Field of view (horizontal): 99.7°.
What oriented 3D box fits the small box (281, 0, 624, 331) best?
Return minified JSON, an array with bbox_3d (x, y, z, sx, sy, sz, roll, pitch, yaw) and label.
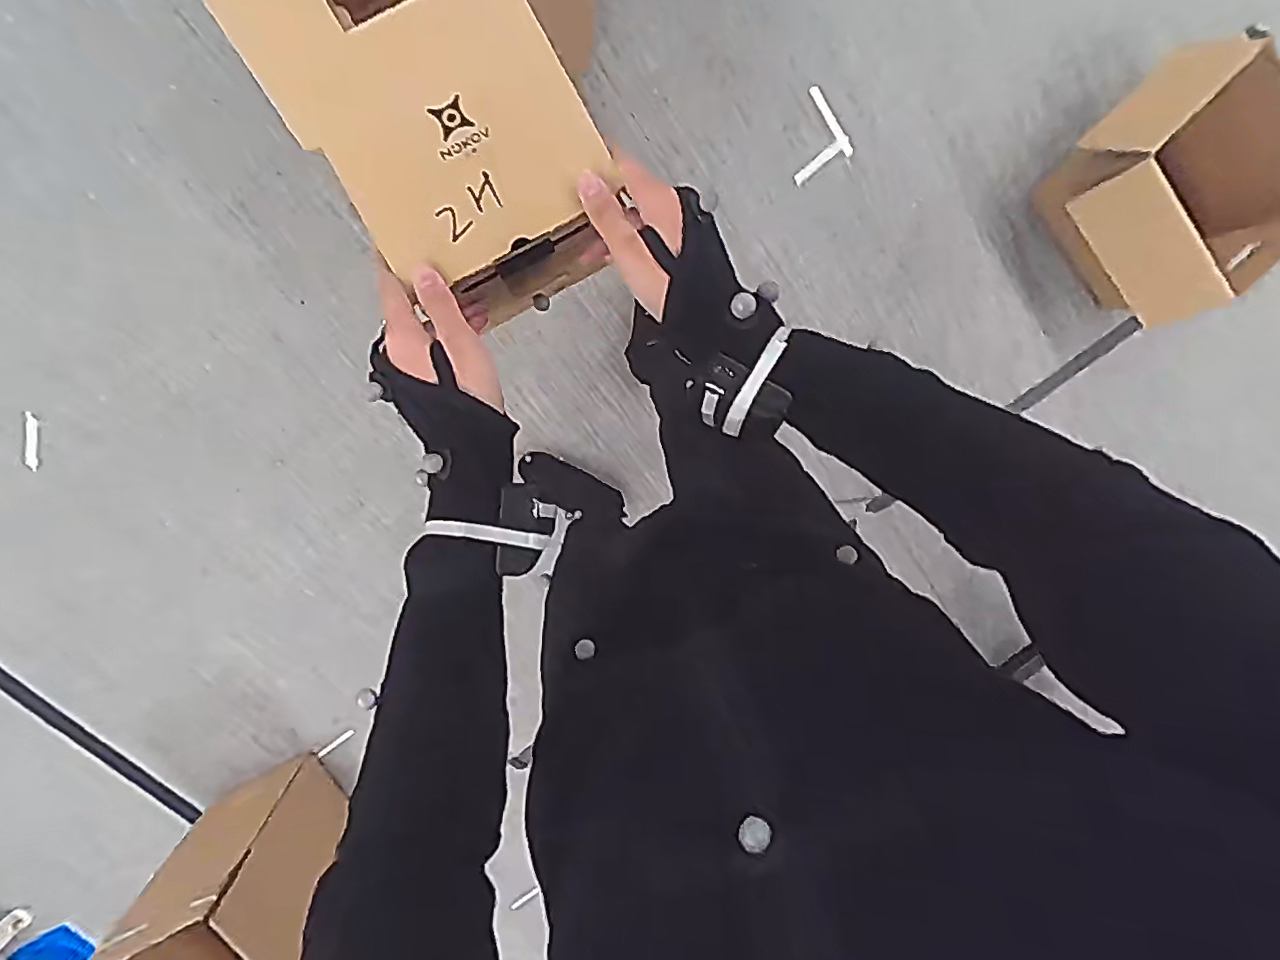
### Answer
[{"bbox_3d":[-0.131,-0.243,0.441,0.168,0.176,0.179,-29,101,-2],"label":"small box"}]
